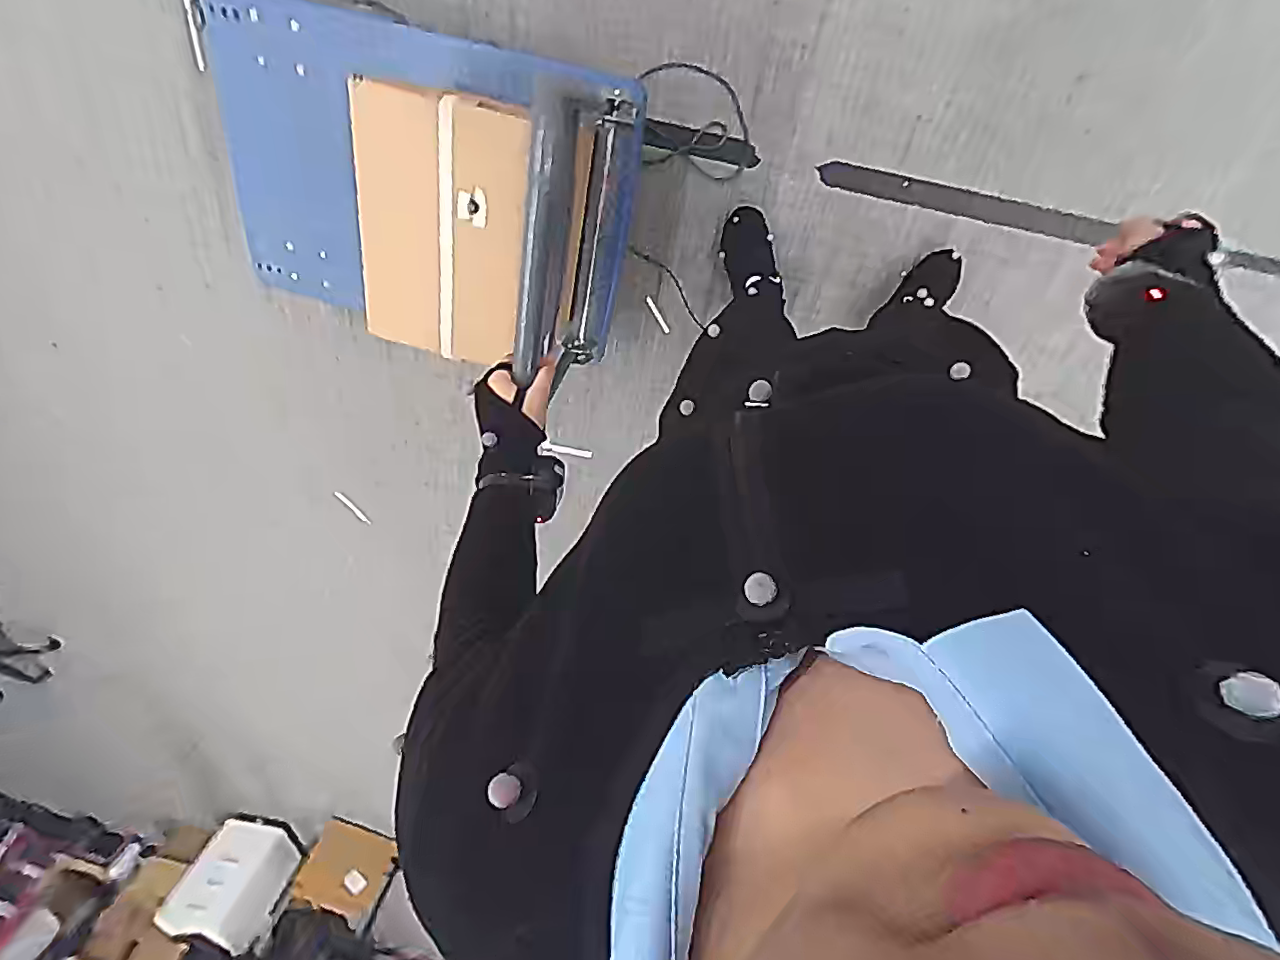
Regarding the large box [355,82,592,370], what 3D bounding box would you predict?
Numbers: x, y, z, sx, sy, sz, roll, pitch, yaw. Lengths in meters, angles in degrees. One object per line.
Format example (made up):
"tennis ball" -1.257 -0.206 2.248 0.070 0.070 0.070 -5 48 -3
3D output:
"large box" -0.297 -0.479 1.043 0.320 0.320 0.408 14 123 0
